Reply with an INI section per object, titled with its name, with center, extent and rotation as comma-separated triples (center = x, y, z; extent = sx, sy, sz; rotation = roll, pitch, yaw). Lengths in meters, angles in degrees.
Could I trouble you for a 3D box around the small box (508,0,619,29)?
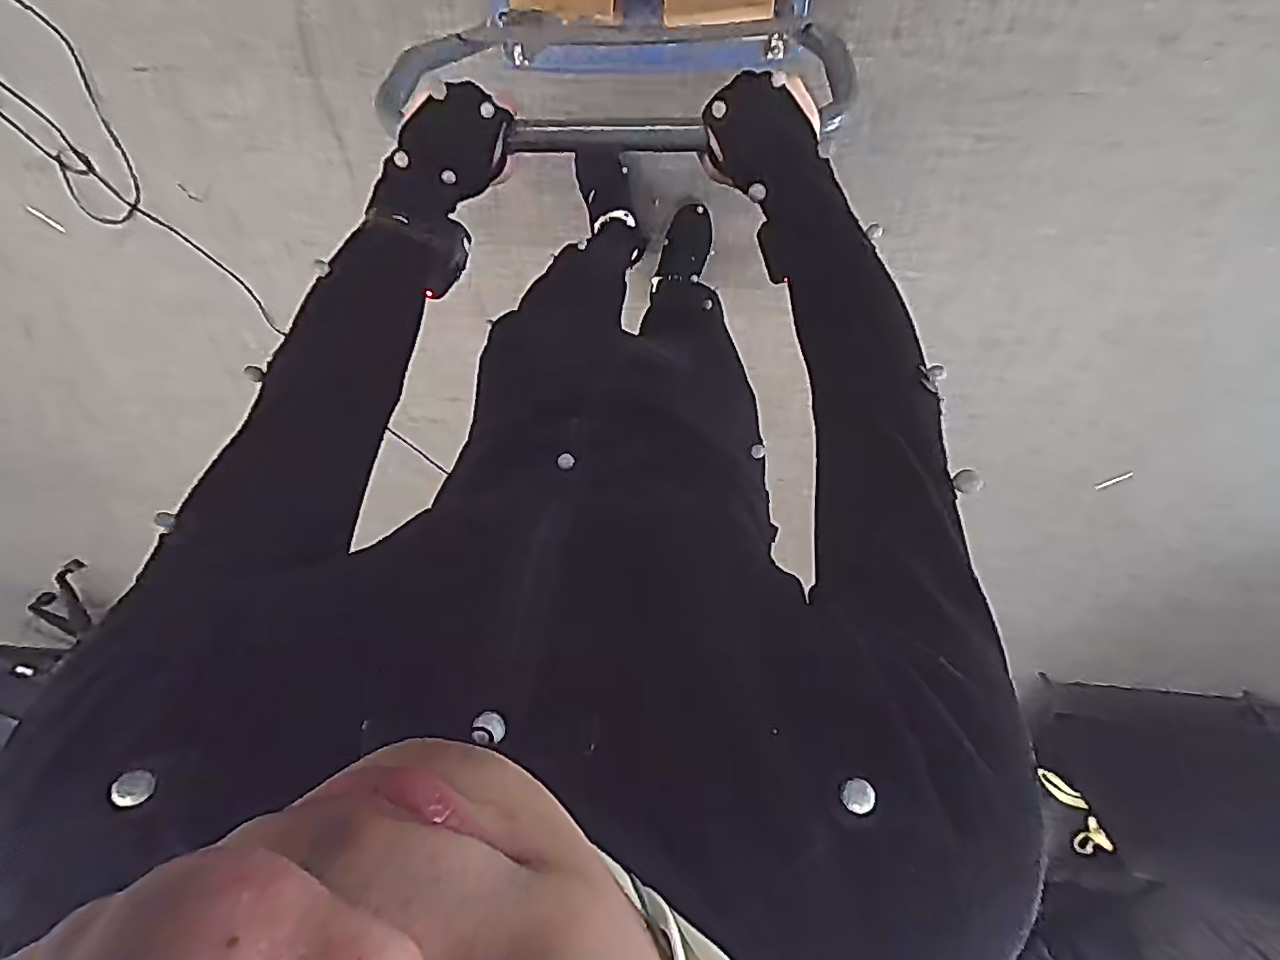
[small box]
center = -0.117, -0.854, 0.874
extent = 0.168, 0.176, 0.179
rotation = 6, 131, -1
